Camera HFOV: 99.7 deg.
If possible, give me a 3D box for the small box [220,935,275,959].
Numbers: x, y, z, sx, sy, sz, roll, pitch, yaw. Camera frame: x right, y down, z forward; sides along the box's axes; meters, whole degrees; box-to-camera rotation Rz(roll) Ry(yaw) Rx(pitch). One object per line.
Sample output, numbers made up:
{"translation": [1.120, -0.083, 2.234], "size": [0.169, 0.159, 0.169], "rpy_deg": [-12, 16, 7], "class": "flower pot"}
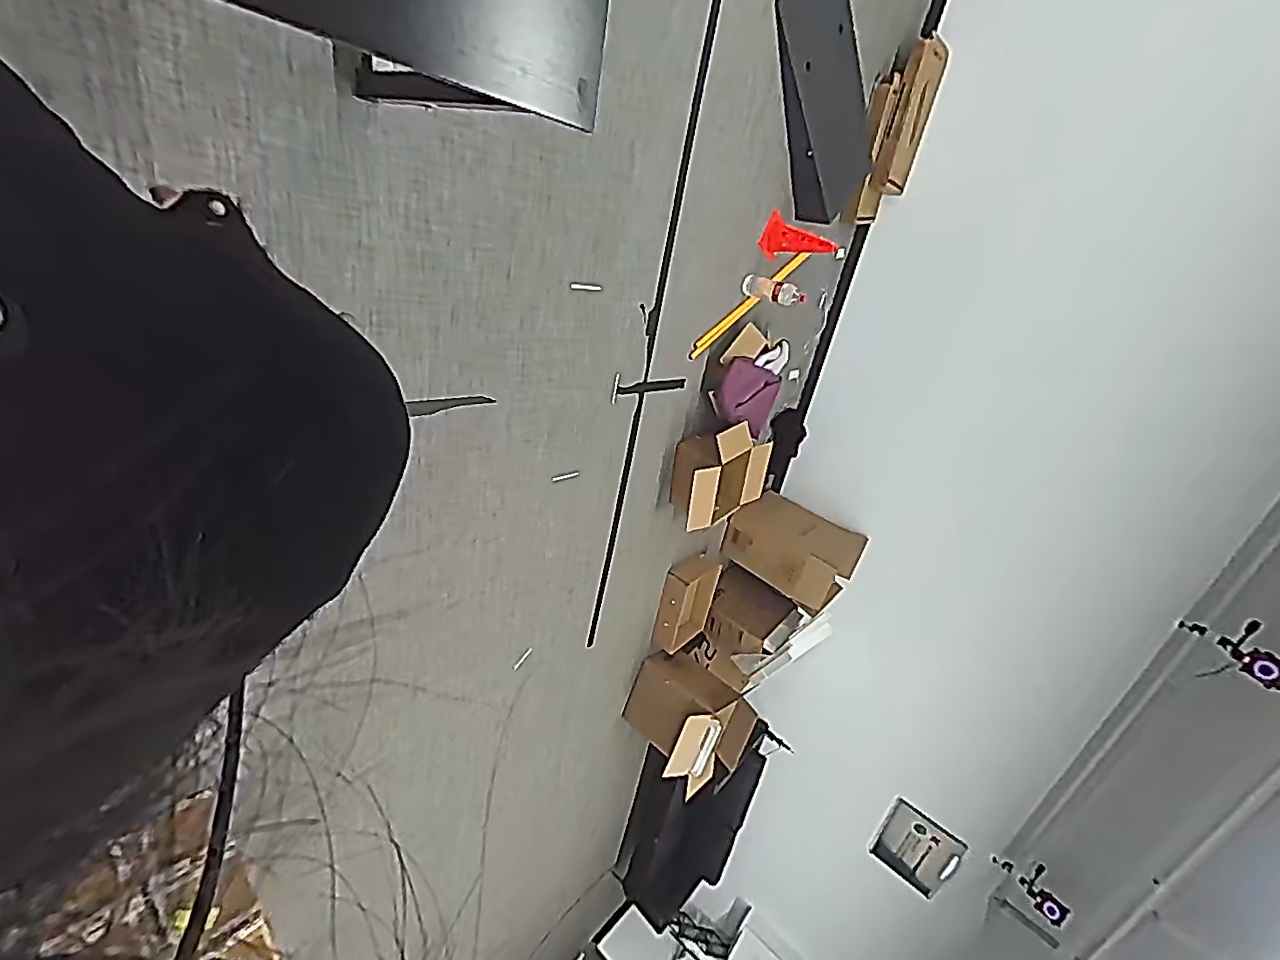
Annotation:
{"translation": [-1.023, 1.335, 1.386], "size": [0.168, 0.176, 0.179], "rpy_deg": [-20, 125, -48], "class": "small box"}
